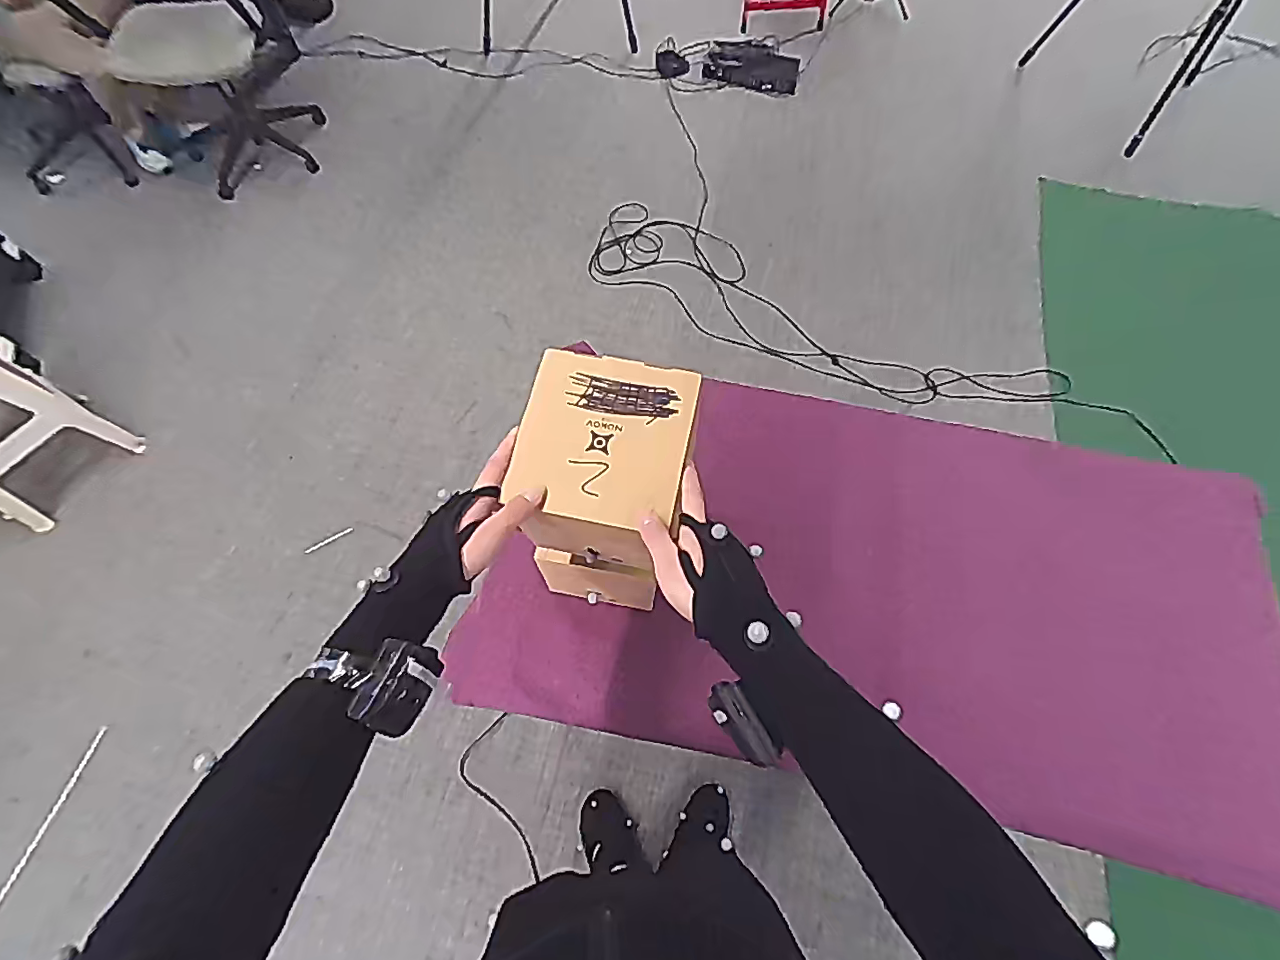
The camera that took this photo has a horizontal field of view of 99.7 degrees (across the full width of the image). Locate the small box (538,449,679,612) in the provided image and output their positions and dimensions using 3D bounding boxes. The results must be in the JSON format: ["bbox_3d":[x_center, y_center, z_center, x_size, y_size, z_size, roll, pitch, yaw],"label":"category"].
[{"bbox_3d":[-0.042,0.081,0.812,0.168,0.176,0.179,11,64,5],"label":"small box"}]
